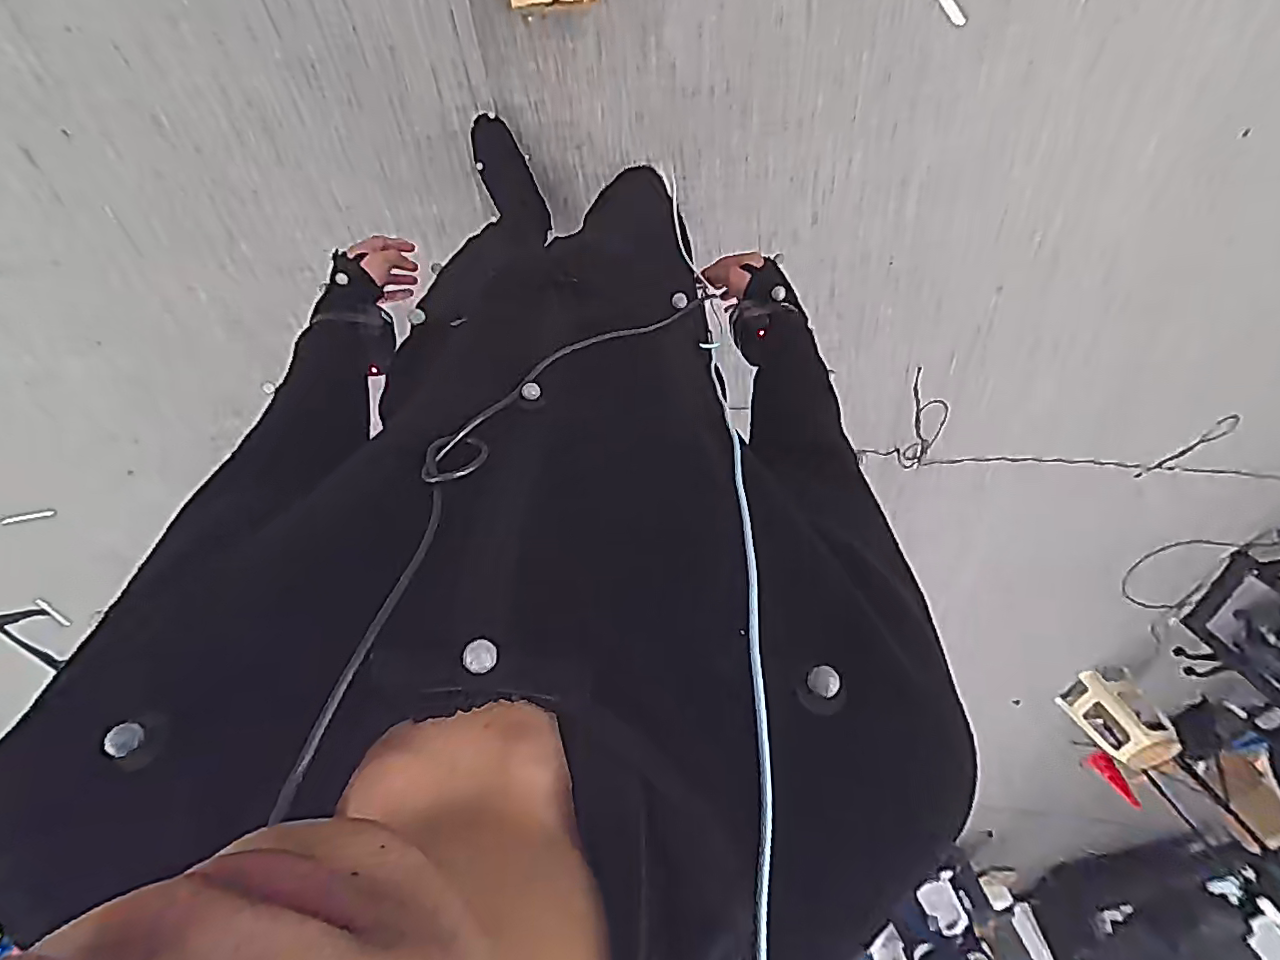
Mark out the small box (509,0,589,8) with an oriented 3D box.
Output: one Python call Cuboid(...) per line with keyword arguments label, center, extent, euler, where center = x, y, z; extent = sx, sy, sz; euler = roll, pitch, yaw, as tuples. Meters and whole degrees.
Cuboid(label="small box", center=(-0.176, -1.002, 1.006), extent=(0.168, 0.176, 0.179), euler=(-9, 127, -5))
